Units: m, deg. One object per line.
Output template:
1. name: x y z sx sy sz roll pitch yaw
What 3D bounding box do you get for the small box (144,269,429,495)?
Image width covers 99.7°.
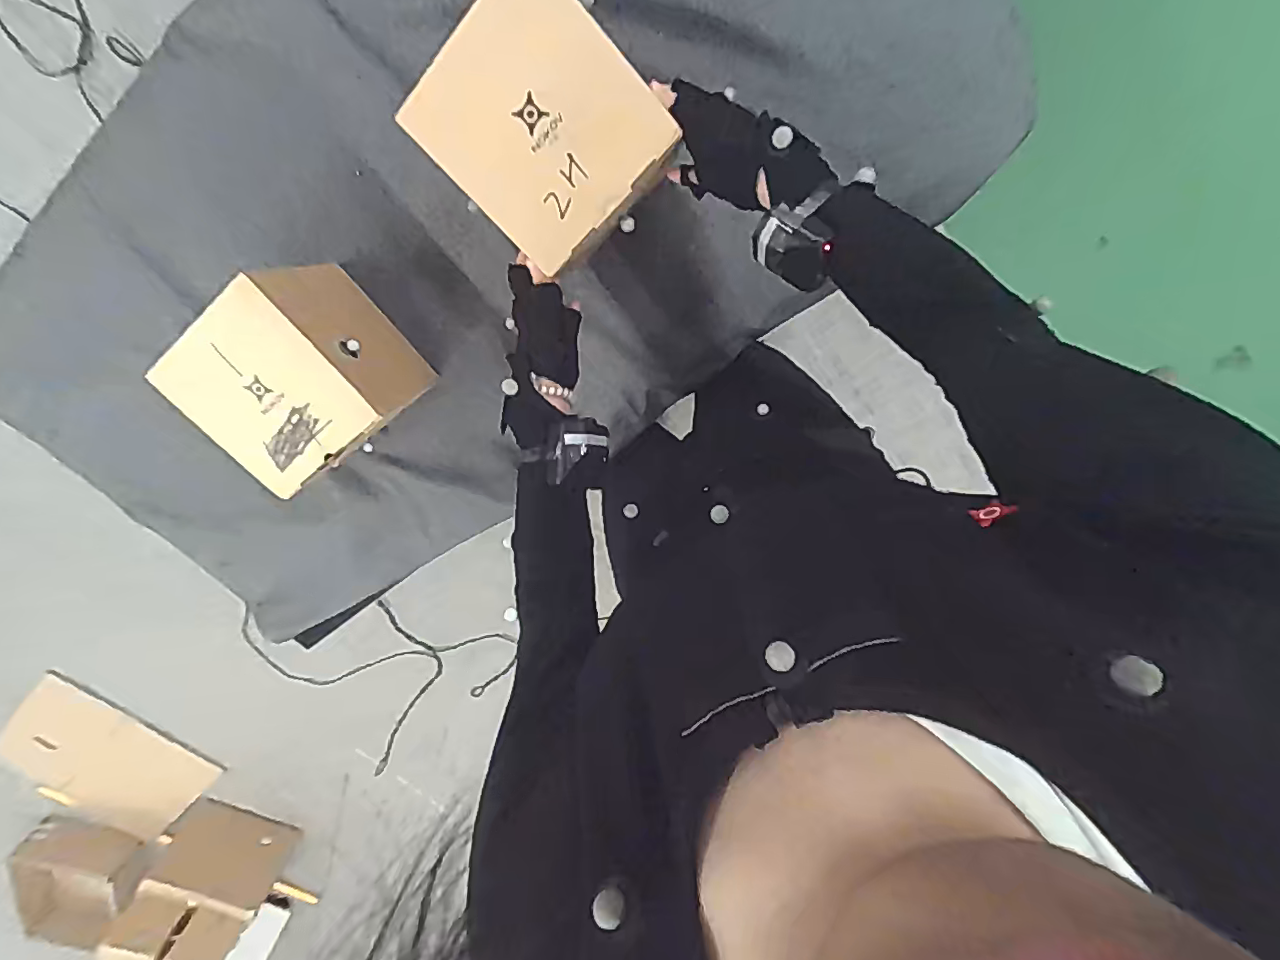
1. small box: -0.379 -0.120 0.619 0.168 0.176 0.179 -34 109 15

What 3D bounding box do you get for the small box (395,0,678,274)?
1. small box: -0.082 -0.320 0.514 0.168 0.176 0.179 -41 106 18
